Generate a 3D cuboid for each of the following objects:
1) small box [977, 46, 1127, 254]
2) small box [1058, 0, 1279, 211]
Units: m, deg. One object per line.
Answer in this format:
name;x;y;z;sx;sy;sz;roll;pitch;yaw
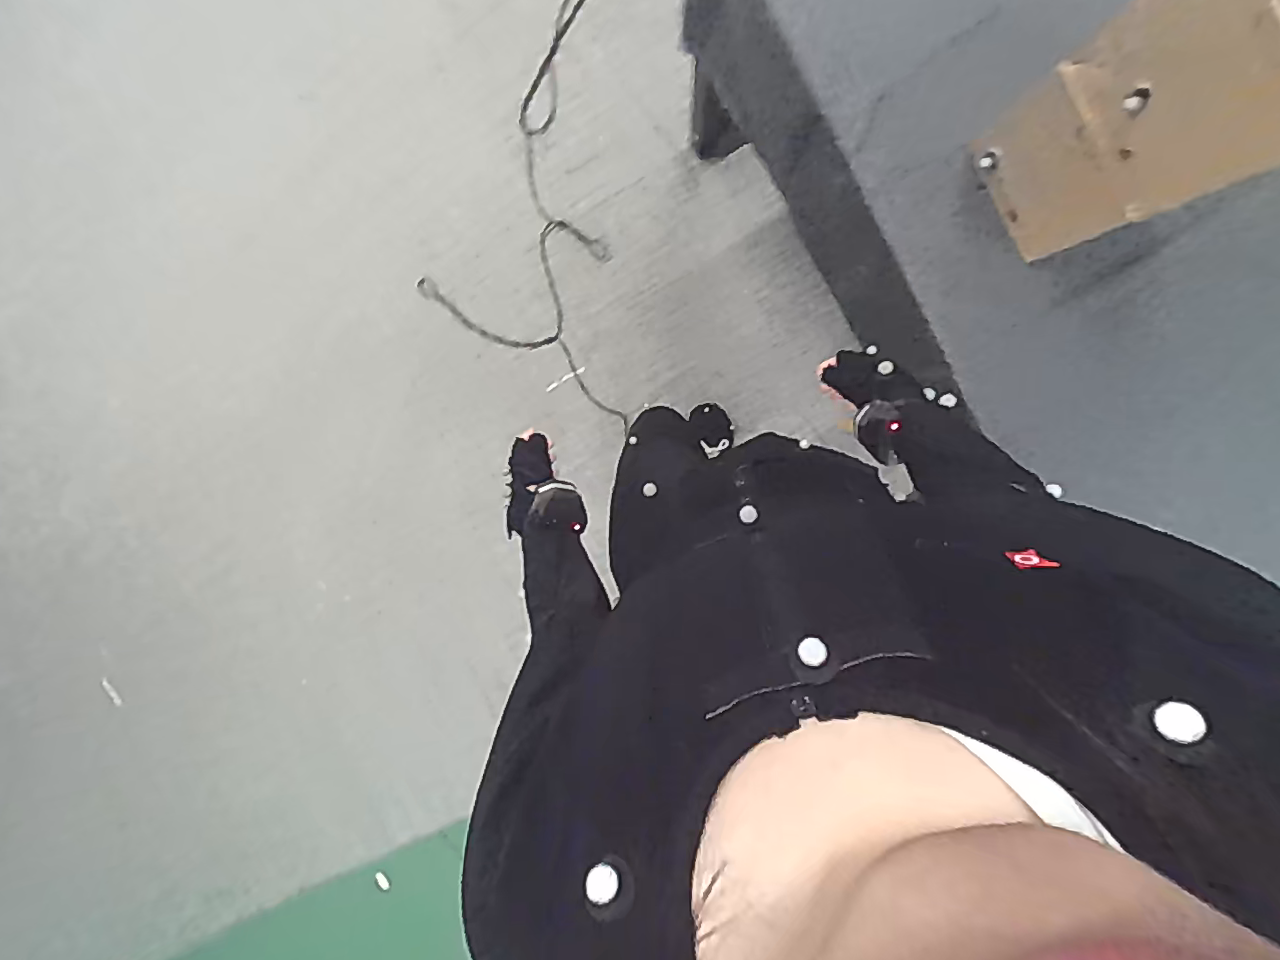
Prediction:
small box;0.512;-0.380;0.593;0.179;0.176;0.168;-30;95;6
small box;0.501;-0.357;0.433;0.179;0.176;0.168;-30;95;8
